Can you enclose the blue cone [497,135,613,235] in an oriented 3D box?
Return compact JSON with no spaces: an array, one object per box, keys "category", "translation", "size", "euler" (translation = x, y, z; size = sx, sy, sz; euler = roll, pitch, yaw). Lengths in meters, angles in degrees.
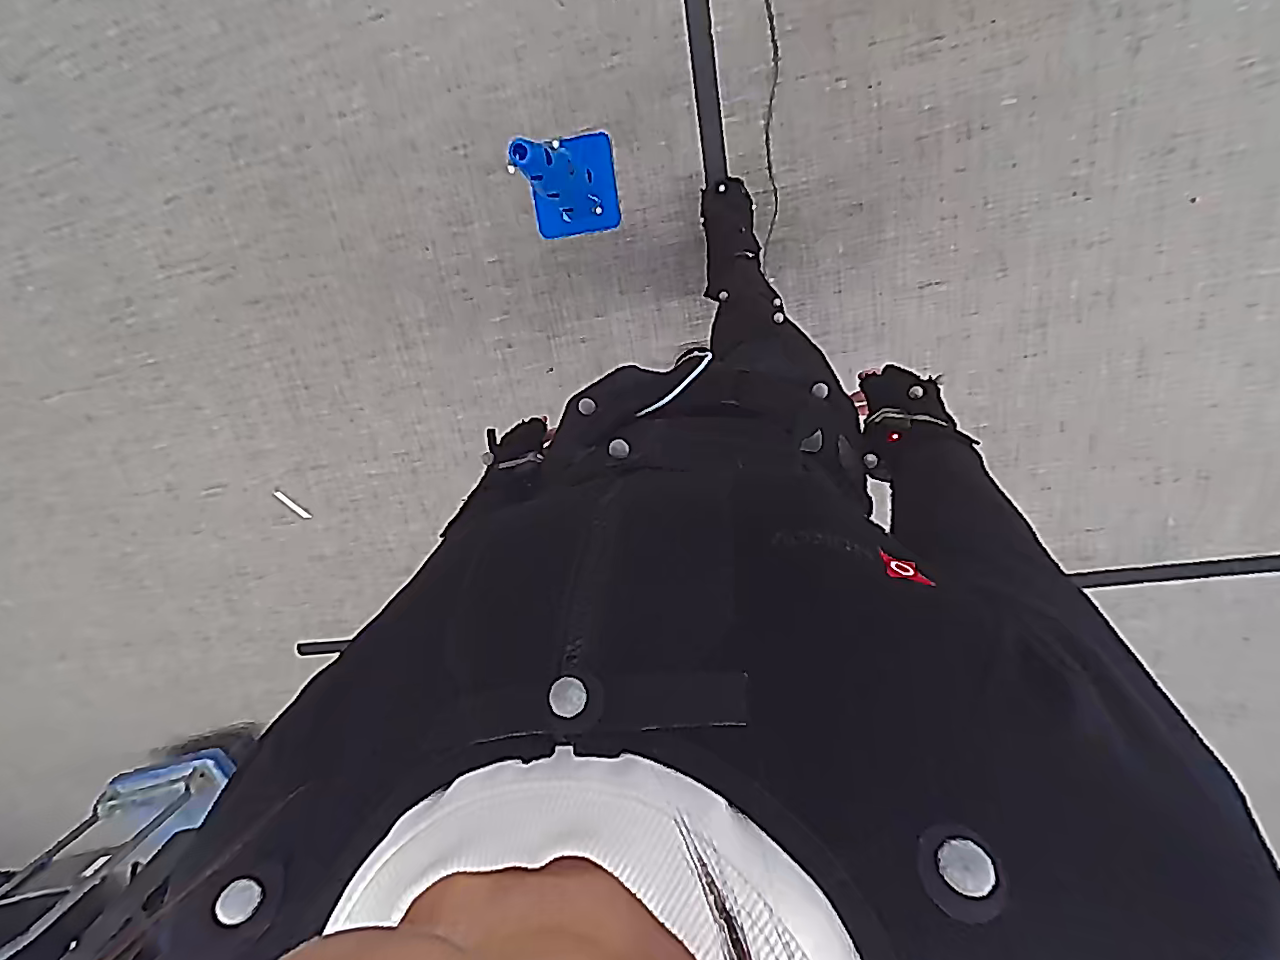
[{"category":"blue cone","translation":[-0.188,-0.626,1.098],"size":[0.192,0.380,0.193],"euler":[-3,109,11]}]
